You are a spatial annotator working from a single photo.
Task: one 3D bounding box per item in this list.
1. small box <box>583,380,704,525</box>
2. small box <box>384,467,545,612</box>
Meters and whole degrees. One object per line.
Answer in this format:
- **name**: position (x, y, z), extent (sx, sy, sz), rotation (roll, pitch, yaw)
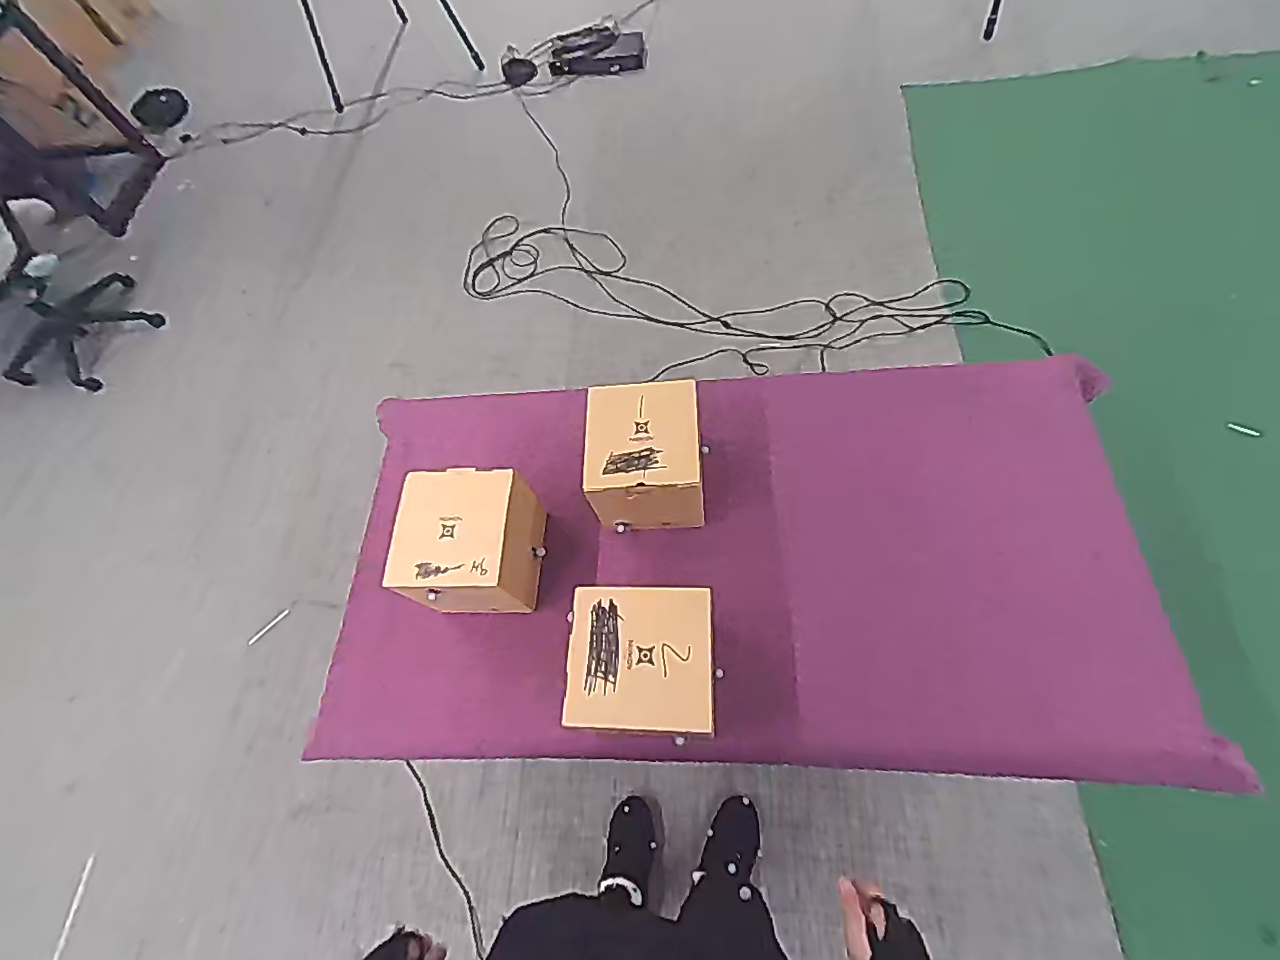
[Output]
- **small box**: position (0.013, -0.034, 0.854), extent (0.168, 0.176, 0.179), rotation (-3, 64, 7)
- **small box**: position (-0.252, 0.095, 0.829), extent (0.168, 0.176, 0.179), rotation (-2, 64, 9)
